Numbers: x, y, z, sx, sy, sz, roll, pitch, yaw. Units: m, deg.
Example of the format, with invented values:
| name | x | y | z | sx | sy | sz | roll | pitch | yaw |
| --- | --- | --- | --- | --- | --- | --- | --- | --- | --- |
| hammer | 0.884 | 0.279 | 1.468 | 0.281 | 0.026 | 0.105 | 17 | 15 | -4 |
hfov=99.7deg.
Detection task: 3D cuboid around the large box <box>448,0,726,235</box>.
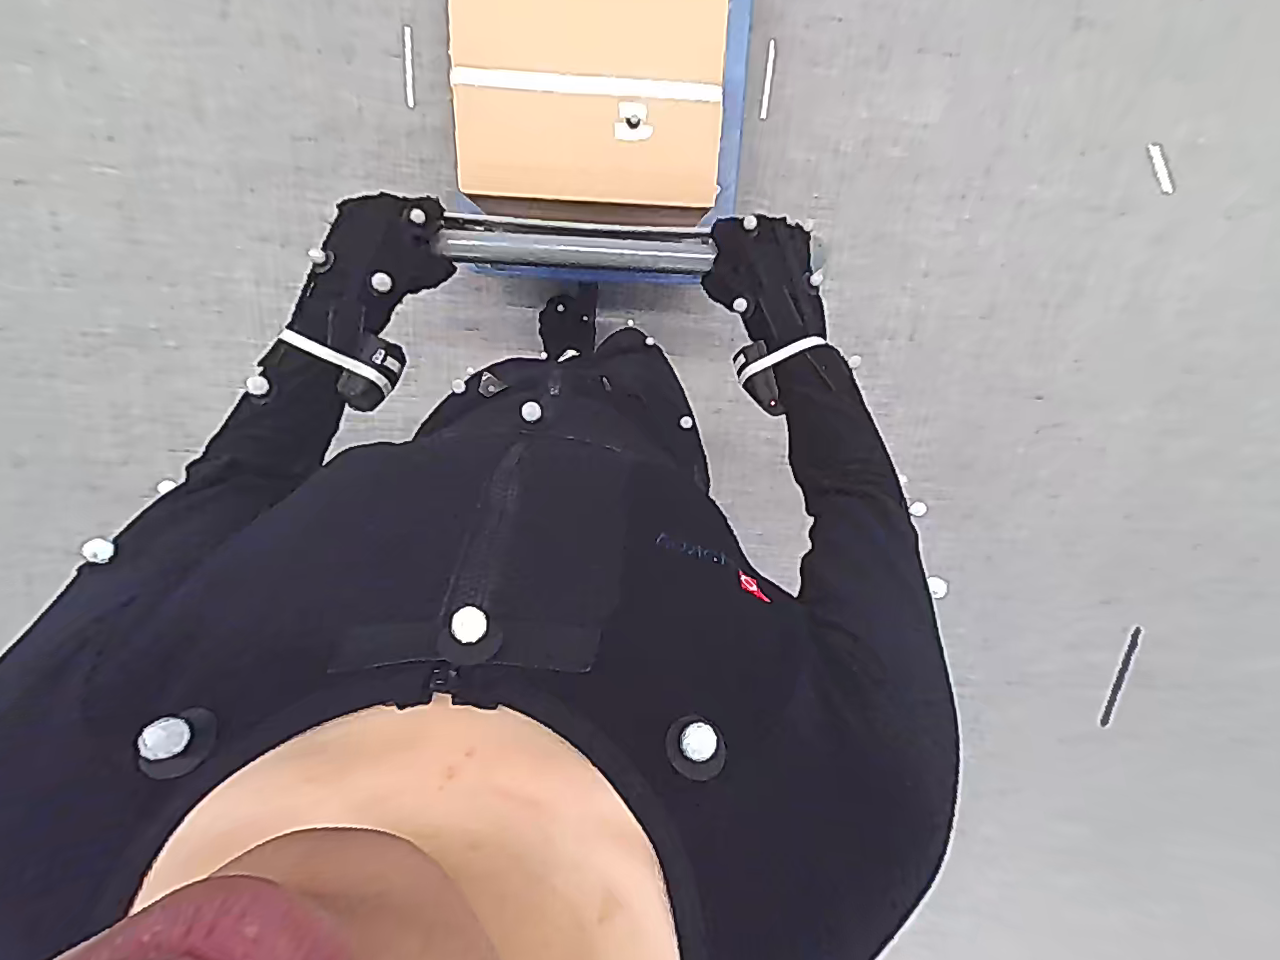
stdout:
| name | x | y | z | sx | sy | sz | roll | pitch | yaw |
| --- | --- | --- | --- | --- | --- | --- | --- | --- | --- |
| large box | -0.089 | -0.623 | 0.950 | 0.408 | 0.320 | 0.320 | 1 | 108 | -5 |
